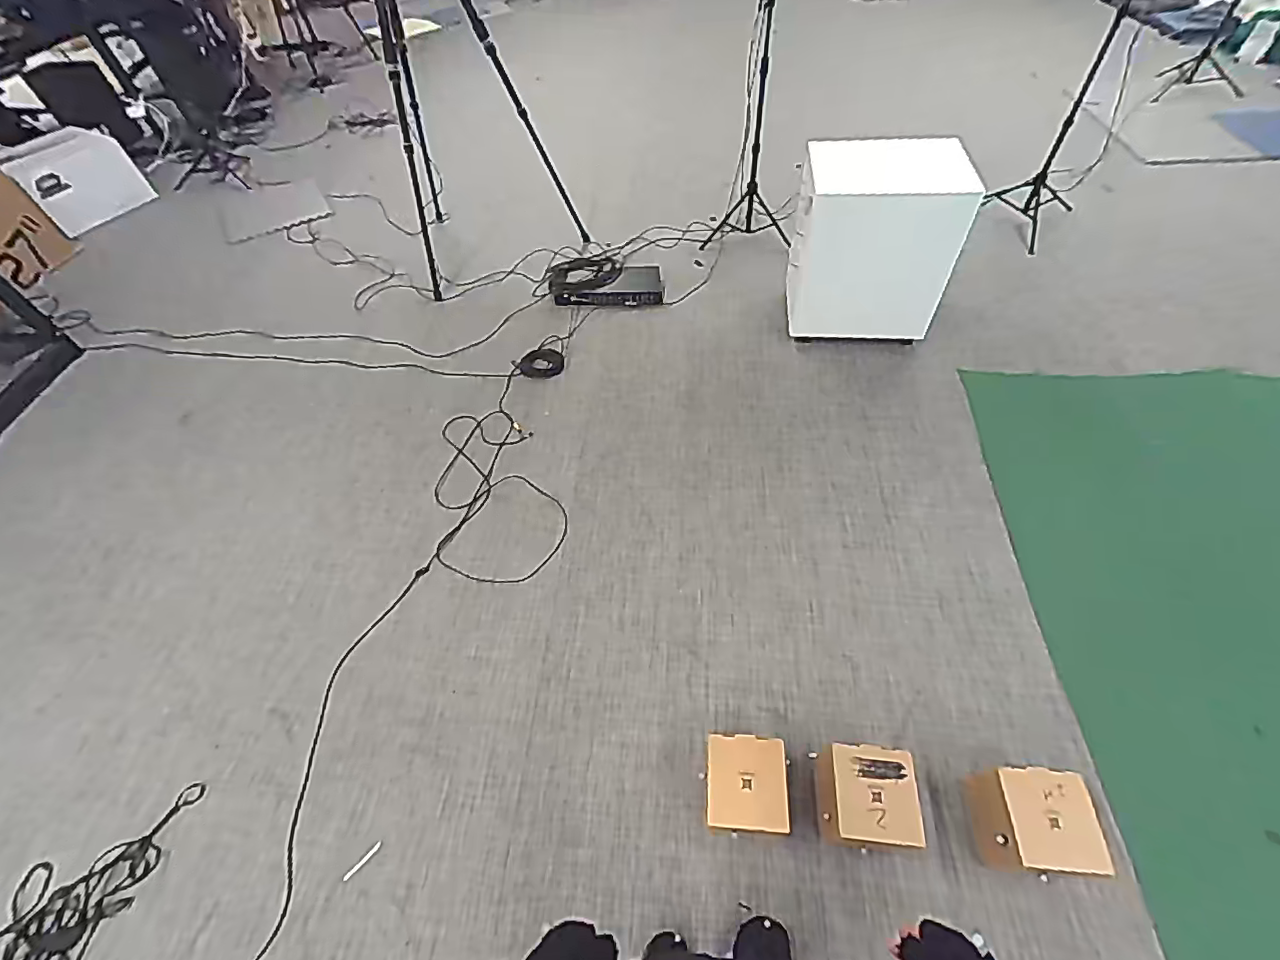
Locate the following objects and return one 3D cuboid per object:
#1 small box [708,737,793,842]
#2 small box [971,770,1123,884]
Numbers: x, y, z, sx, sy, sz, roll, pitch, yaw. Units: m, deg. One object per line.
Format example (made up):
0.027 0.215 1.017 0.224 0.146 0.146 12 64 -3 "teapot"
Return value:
0.237 0.682 1.188 0.168 0.176 0.179 1 53 6 "small box"
0.822 0.716 1.115 0.168 0.176 0.179 2 53 6 "small box"
